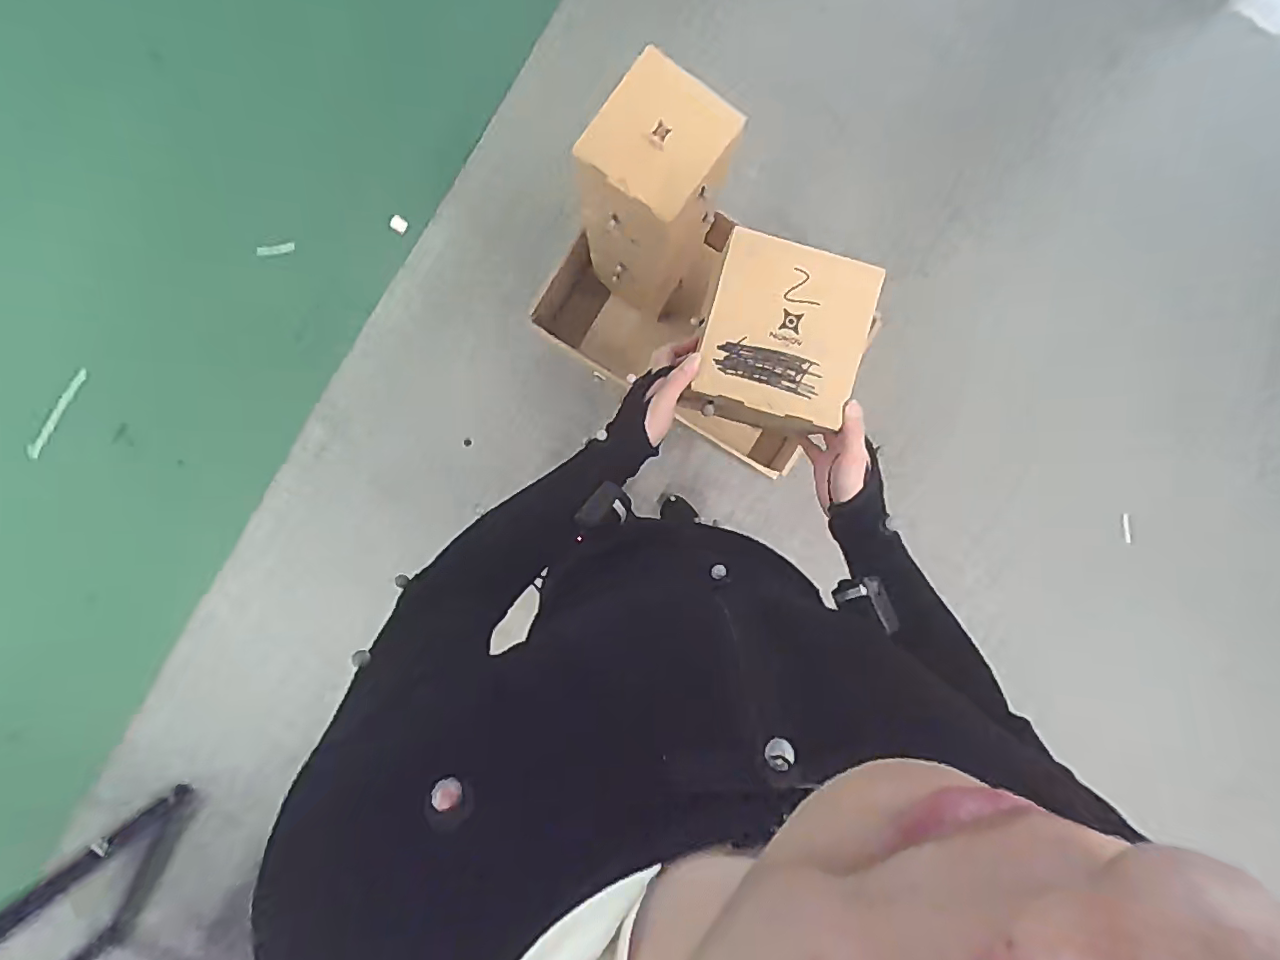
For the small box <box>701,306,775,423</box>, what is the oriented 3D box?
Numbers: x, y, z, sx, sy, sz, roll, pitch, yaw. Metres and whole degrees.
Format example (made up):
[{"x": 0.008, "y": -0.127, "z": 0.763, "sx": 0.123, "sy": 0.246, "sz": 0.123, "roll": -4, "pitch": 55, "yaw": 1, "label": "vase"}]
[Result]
[{"x": 0.241, "y": -0.233, "z": 1.127, "sx": 0.168, "sy": 0.176, "sz": 0.179, "roll": 32, "pitch": 90, "yaw": -2, "label": "small box"}]

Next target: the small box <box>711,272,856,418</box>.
[{"x": 0.242, "y": -0.228, "z": 0.963, "sx": 0.168, "sy": 0.176, "sz": 0.179, "roll": 31, "pitch": 91, "yaw": -1, "label": "small box"}]

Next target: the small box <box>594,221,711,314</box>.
[{"x": 0.021, "y": -0.478, "z": 1.120, "sx": 0.168, "sy": 0.176, "sz": 0.179, "roll": 35, "pitch": 90, "yaw": -2, "label": "small box"}]

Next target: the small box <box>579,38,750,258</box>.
[{"x": 0.030, "y": -0.469, "z": 0.794, "sx": 0.168, "sy": 0.176, "sz": 0.179, "roll": 37, "pitch": 91, "yaw": -2, "label": "small box"}]

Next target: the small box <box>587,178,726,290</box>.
[{"x": 0.026, "y": -0.474, "z": 0.956, "sx": 0.168, "sy": 0.176, "sz": 0.179, "roll": 36, "pitch": 91, "yaw": 0, "label": "small box"}]
